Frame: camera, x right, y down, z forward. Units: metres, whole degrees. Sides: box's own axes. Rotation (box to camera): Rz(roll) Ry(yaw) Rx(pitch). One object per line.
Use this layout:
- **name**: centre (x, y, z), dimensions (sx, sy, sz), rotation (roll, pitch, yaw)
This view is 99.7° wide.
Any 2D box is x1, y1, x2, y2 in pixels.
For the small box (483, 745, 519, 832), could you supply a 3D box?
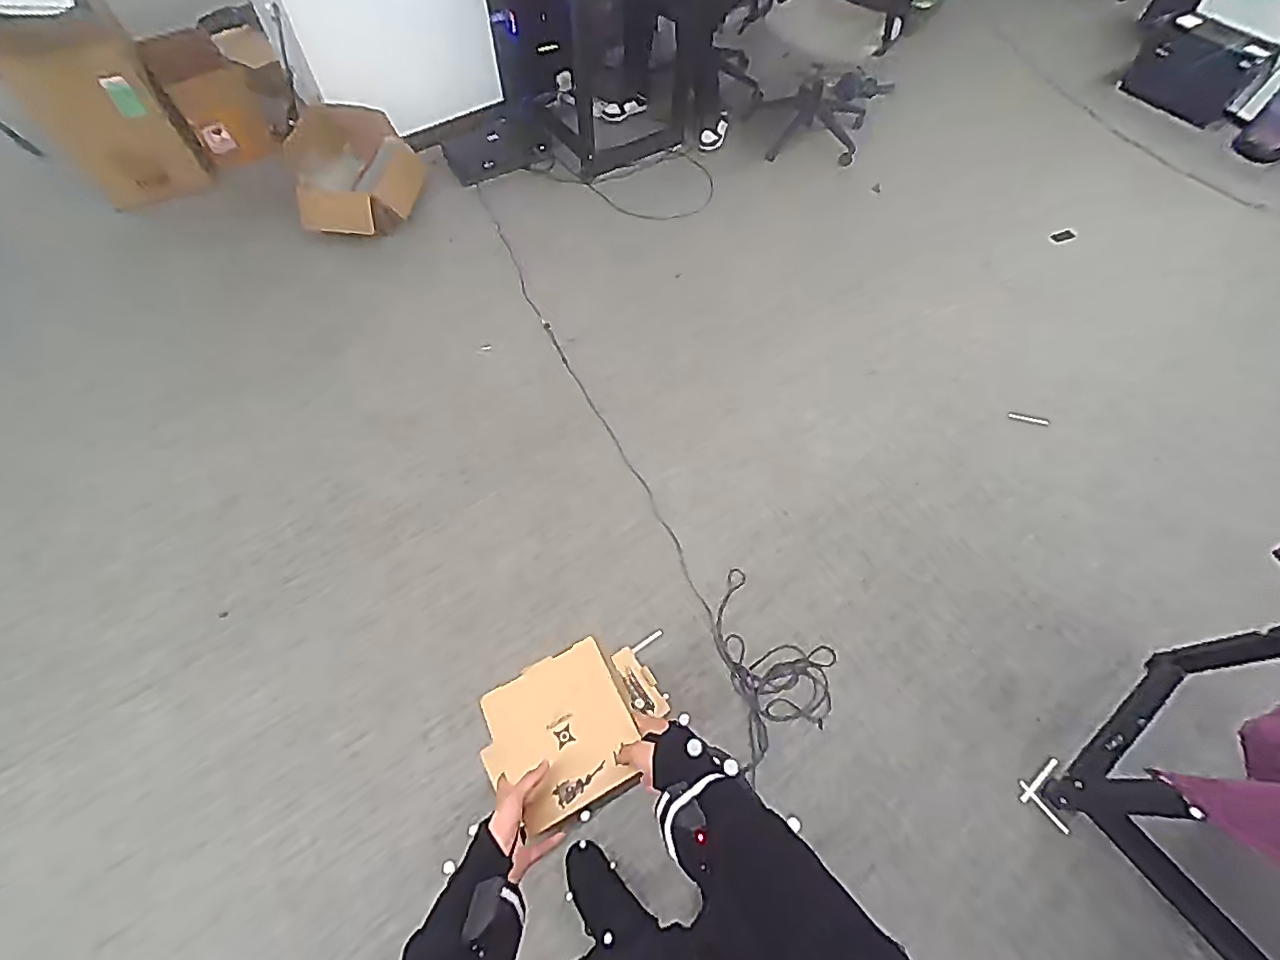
- **small box**: centre (-0.206, 0.611, 1.155), dimensions (0.179, 0.176, 0.168), rotation (-29, 66, -13)

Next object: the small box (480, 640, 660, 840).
- **small box**: centre (-0.087, 0.349, 0.728), dimensions (0.168, 0.176, 0.179), rotation (-27, 60, -7)
